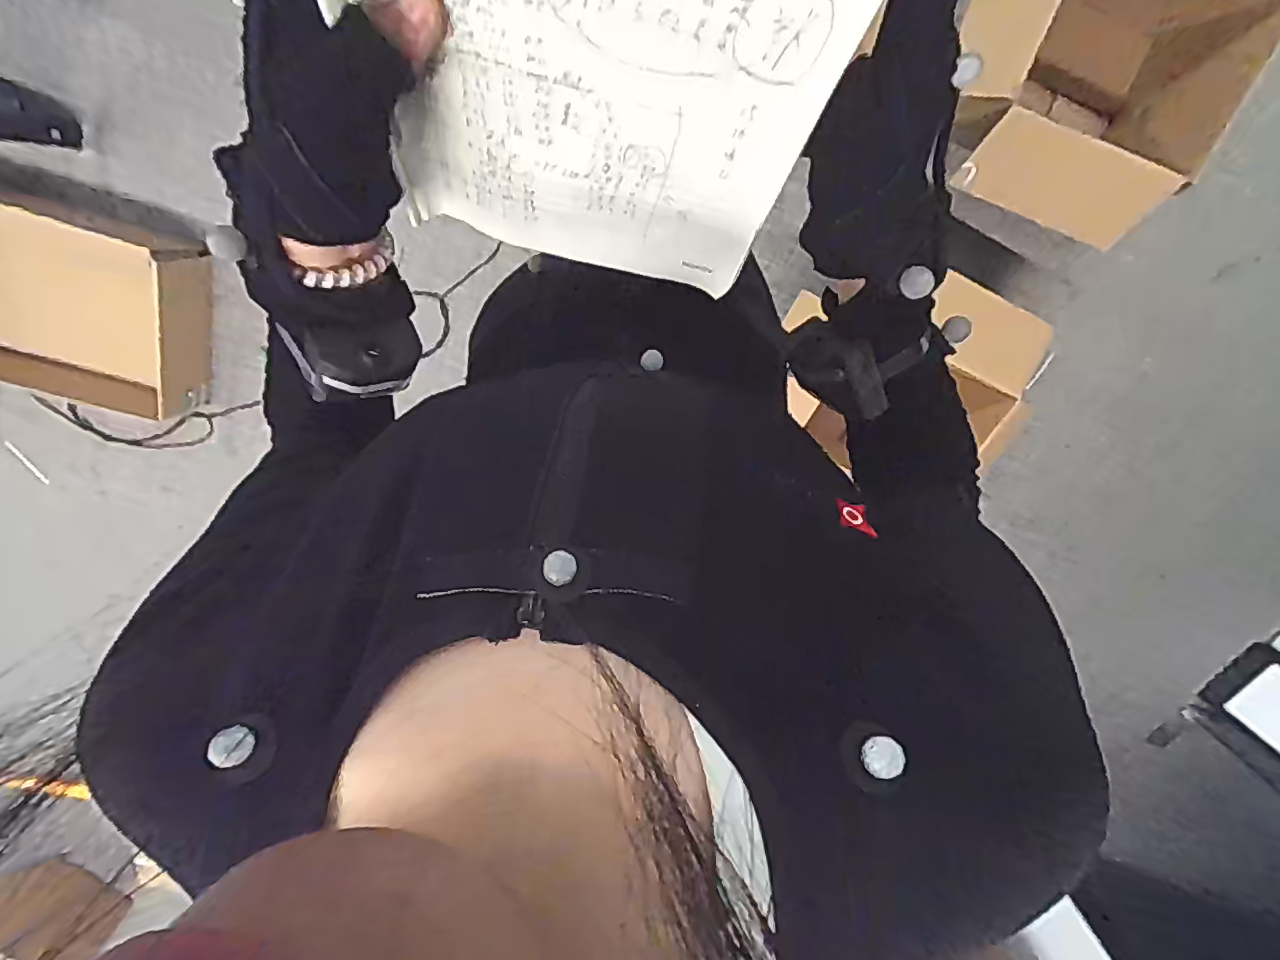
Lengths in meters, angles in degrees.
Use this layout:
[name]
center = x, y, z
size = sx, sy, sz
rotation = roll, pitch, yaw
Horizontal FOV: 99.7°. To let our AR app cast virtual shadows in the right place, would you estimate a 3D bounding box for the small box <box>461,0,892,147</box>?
[small box]
center = 0.013, -0.275, 0.232
size = 0.179, 0.176, 0.168
rotation = -2, 152, 1
